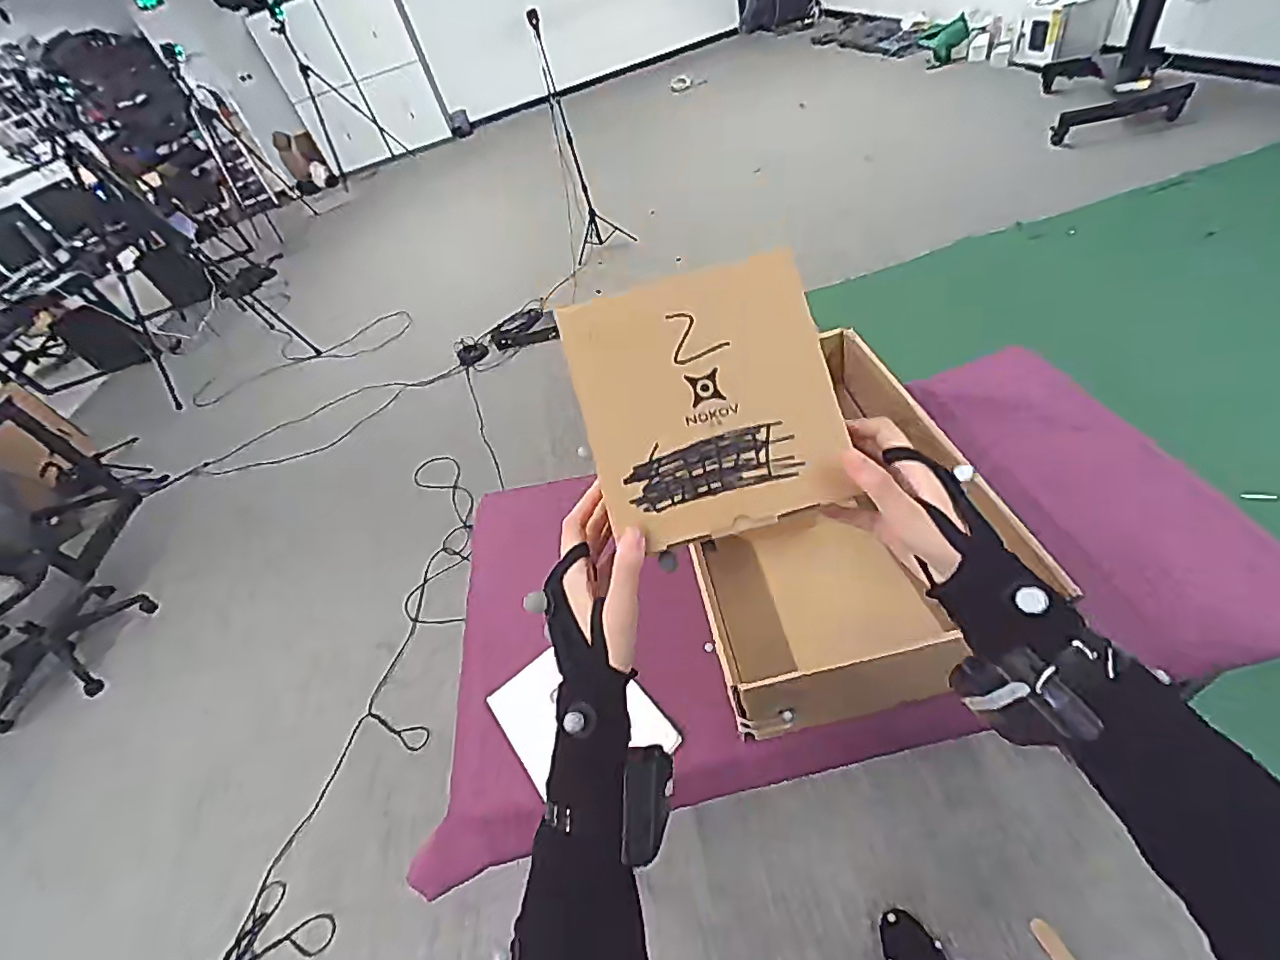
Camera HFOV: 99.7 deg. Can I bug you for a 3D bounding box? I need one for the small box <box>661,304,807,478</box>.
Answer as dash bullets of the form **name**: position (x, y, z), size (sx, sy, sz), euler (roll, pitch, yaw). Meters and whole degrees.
- **small box**: position (0.139, -0.122, 0.793), size (0.168, 0.176, 0.179), euler (-15, 45, 6)
